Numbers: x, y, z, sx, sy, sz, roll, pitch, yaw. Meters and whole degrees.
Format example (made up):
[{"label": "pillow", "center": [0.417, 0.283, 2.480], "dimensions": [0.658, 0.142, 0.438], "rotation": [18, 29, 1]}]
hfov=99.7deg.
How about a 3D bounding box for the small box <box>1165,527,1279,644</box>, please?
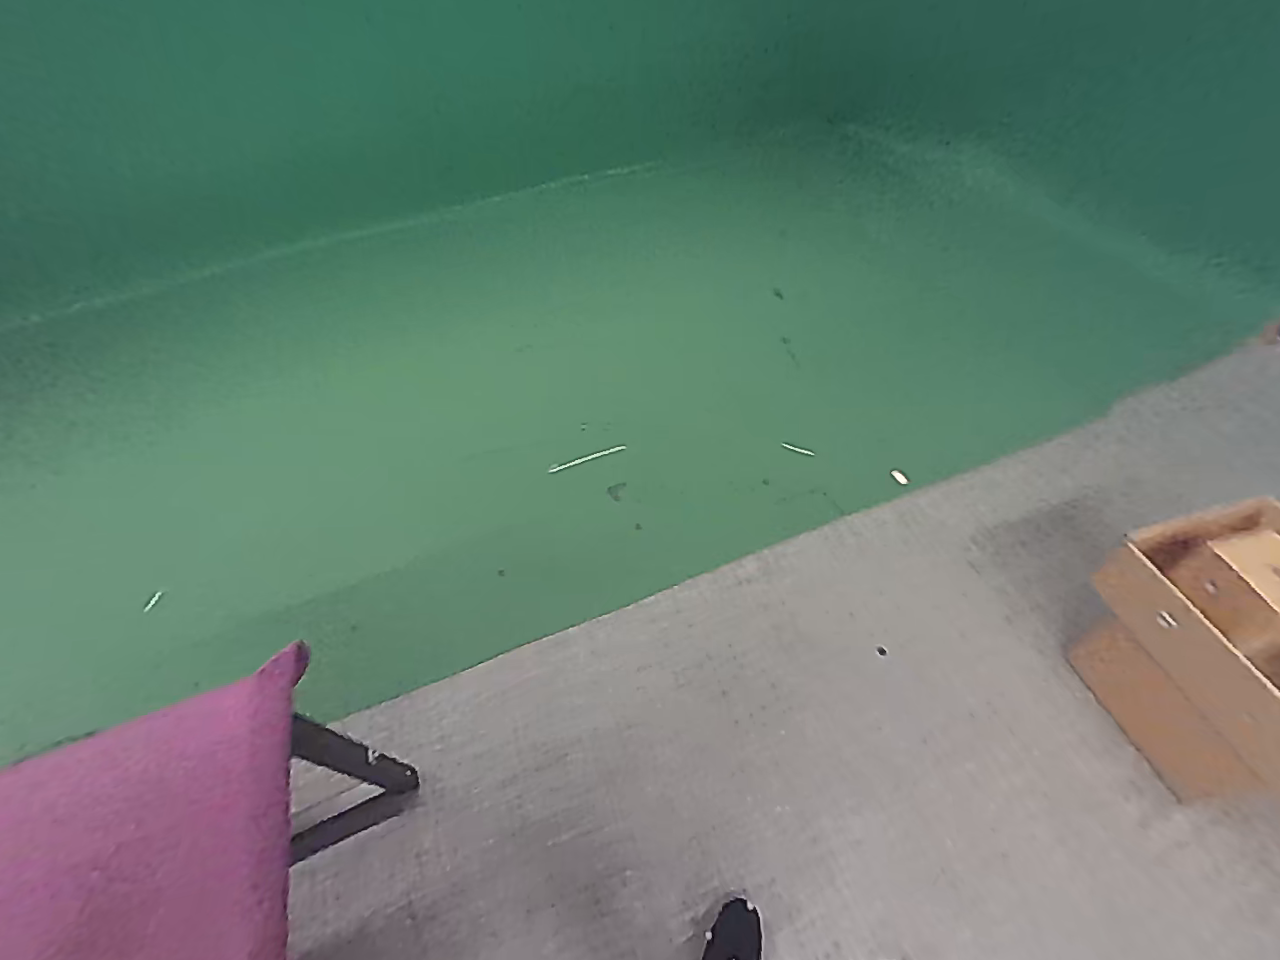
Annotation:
[{"label": "small box", "center": [1.340, 0.234, 1.191], "dimensions": [0.168, 0.176, 0.179], "rotation": [-12, 50, -4]}]
